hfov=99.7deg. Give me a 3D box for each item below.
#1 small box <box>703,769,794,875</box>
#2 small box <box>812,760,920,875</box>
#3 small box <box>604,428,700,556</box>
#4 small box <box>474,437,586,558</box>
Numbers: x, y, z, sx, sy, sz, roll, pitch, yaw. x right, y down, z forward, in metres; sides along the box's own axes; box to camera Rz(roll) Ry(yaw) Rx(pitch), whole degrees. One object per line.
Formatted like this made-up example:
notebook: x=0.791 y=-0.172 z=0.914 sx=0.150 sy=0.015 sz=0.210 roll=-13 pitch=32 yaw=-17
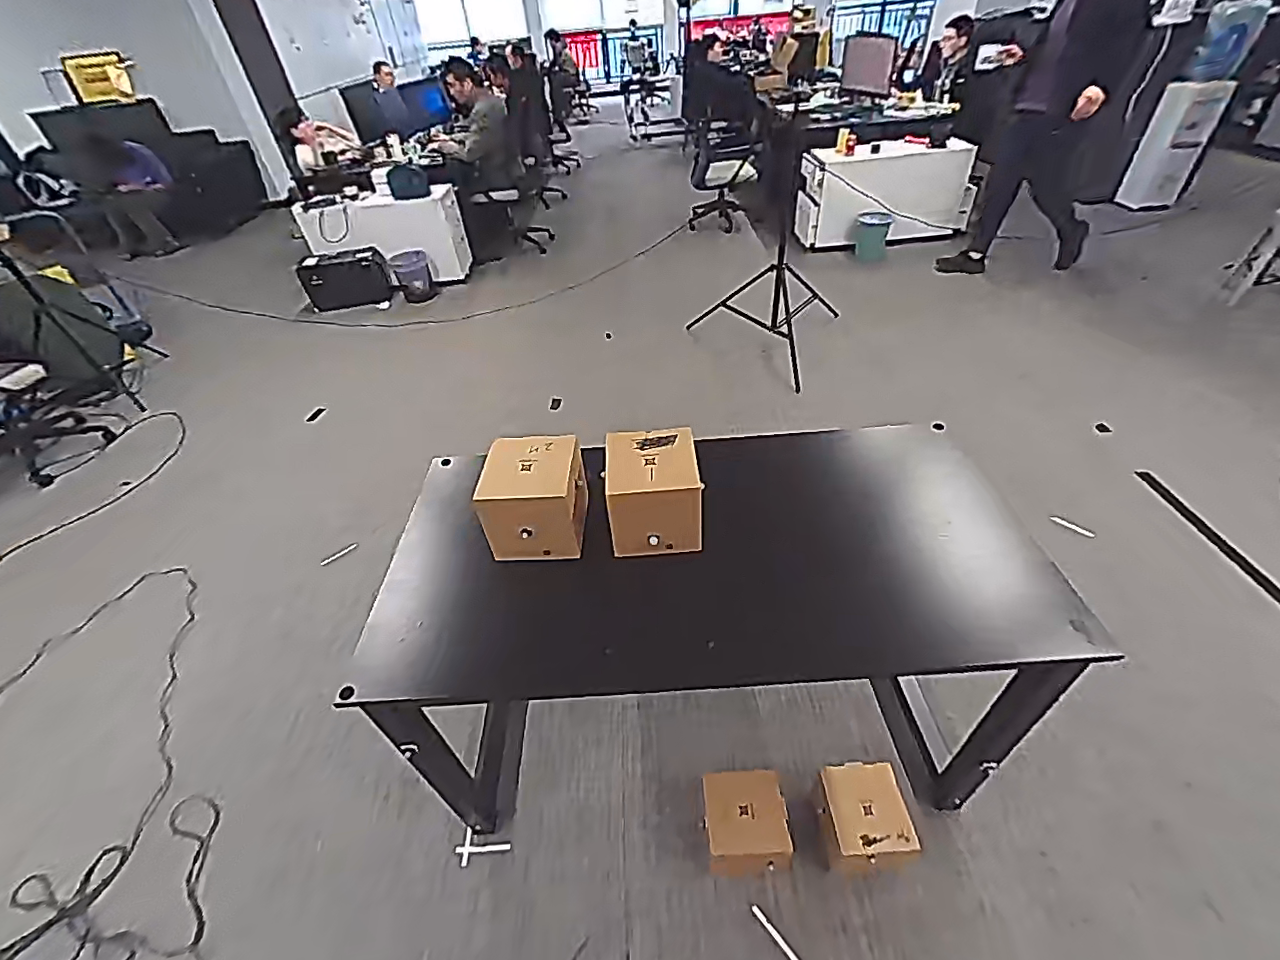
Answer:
small box: x=0.241 y=0.790 z=1.247 sx=0.179 sy=0.176 sz=0.168 roll=-6 pitch=41 yaw=2
small box: x=0.503 y=0.770 z=1.234 sx=0.168 sy=0.176 sz=0.179 roll=-6 pitch=41 yaw=2
small box: x=0.023 y=0.023 z=1.035 sx=0.168 sy=0.176 sz=0.179 roll=-5 pitch=42 yaw=2
small box: x=-0.201 y=0.037 z=1.046 sx=0.168 sy=0.176 sz=0.179 roll=-2 pitch=41 yaw=3
